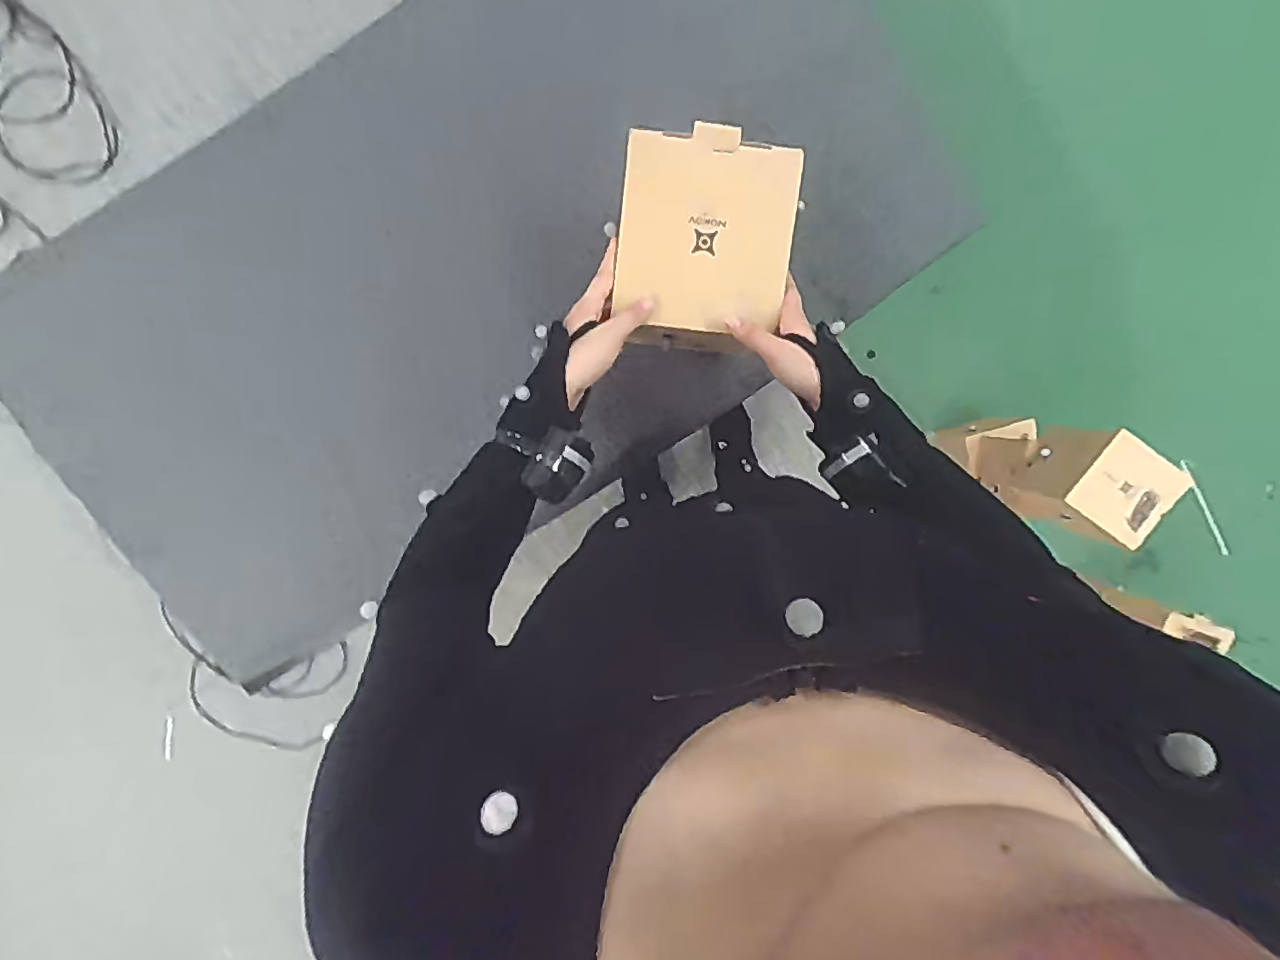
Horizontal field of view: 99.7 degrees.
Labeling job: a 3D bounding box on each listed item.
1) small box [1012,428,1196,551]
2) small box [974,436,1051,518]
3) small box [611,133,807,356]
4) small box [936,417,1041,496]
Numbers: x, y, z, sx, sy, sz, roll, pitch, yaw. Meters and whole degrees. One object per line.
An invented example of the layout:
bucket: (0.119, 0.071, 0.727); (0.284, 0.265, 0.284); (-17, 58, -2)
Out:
small box: (0.898, 0.008, 1.065); (0.179, 0.176, 0.168); (34, 98, -4)
small box: (0.902, -0.008, 1.229); (0.179, 0.176, 0.168); (4, 100, -1)
small box: (0.063, -0.231, 0.579); (0.168, 0.176, 0.179); (6, 98, -1)
small box: (0.889, -0.060, 1.385); (0.179, 0.176, 0.168); (-16, 99, 2)
